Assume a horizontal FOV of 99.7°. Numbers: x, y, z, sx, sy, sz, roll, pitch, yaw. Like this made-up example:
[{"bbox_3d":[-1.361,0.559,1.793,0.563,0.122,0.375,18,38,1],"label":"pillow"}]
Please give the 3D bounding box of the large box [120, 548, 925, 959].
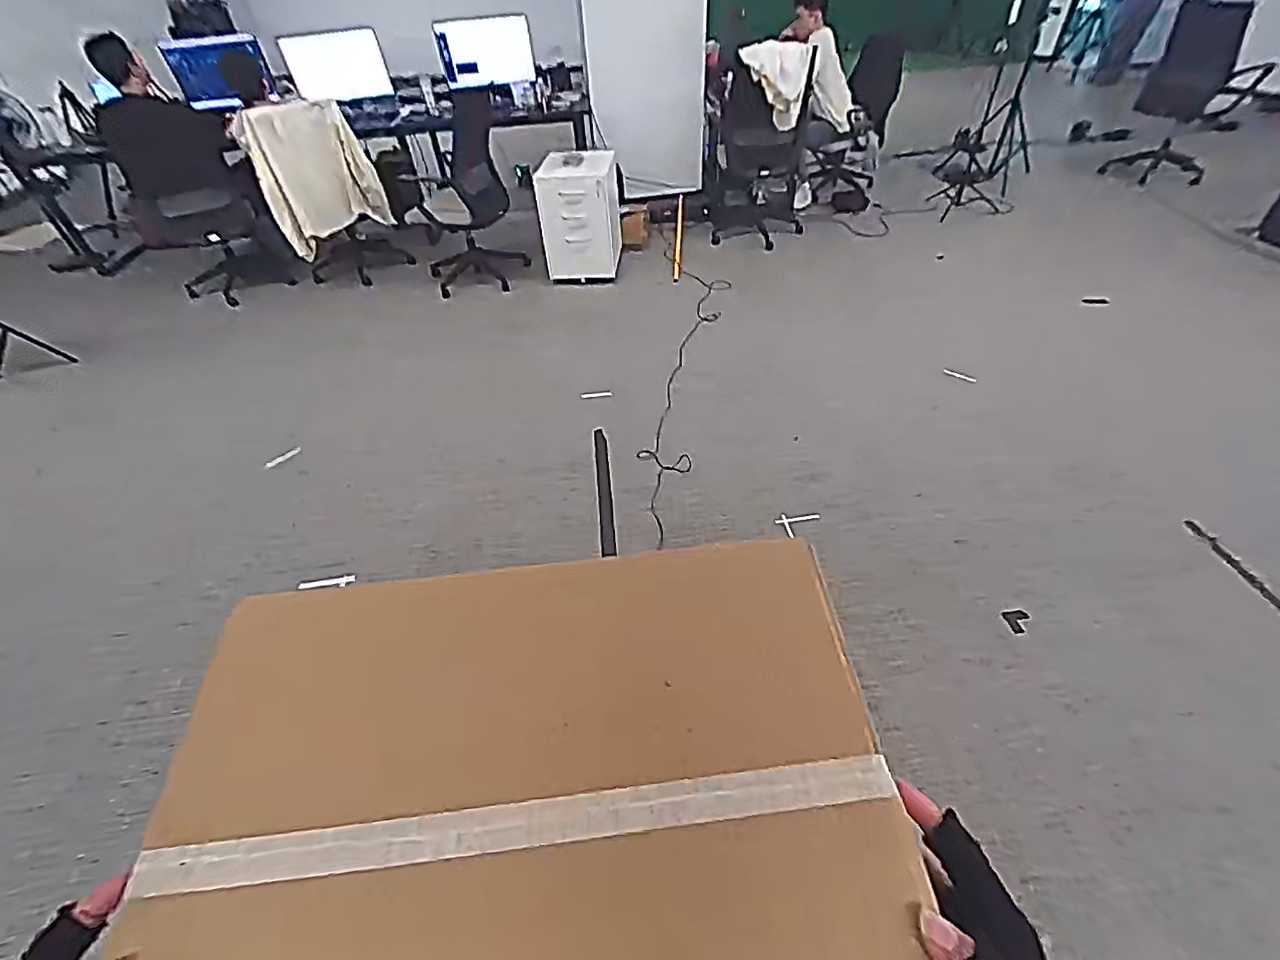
[{"bbox_3d":[-0.060,0.282,0.421,0.408,0.320,0.320,-6,52,-2],"label":"large box"}]
